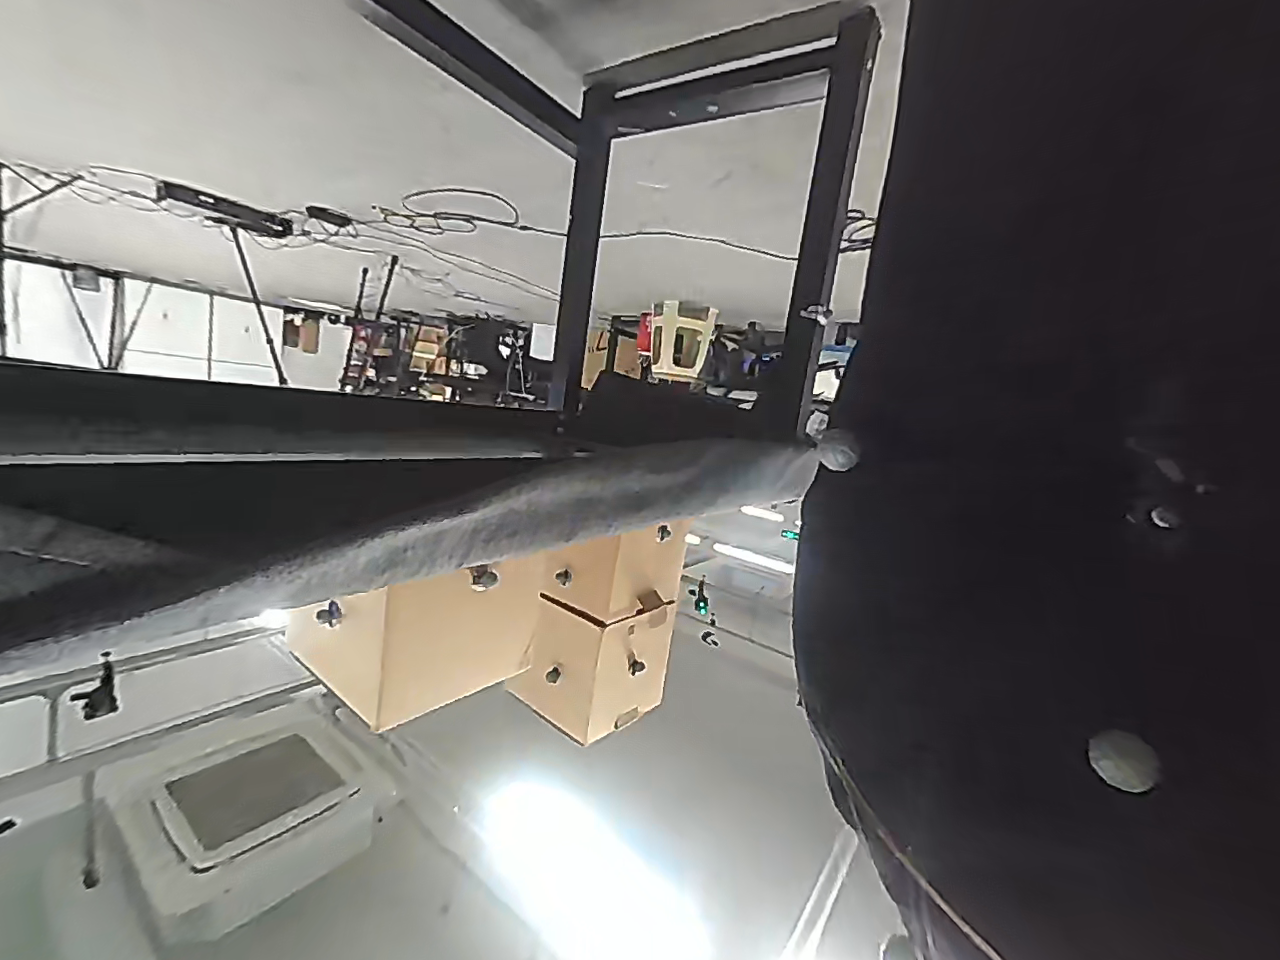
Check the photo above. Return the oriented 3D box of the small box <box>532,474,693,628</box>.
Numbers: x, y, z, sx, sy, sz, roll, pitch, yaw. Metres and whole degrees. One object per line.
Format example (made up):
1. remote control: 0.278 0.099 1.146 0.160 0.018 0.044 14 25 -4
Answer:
1. small box: -0.045 0.086 0.774 0.179 0.176 0.168 14 -170 37

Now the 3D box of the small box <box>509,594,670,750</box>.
1. small box: -0.070 0.247 0.791 0.179 0.176 0.168 14 -171 38

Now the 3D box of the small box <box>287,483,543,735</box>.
1. small box: -0.213 0.101 0.526 0.179 0.176 0.168 15 -169 35
